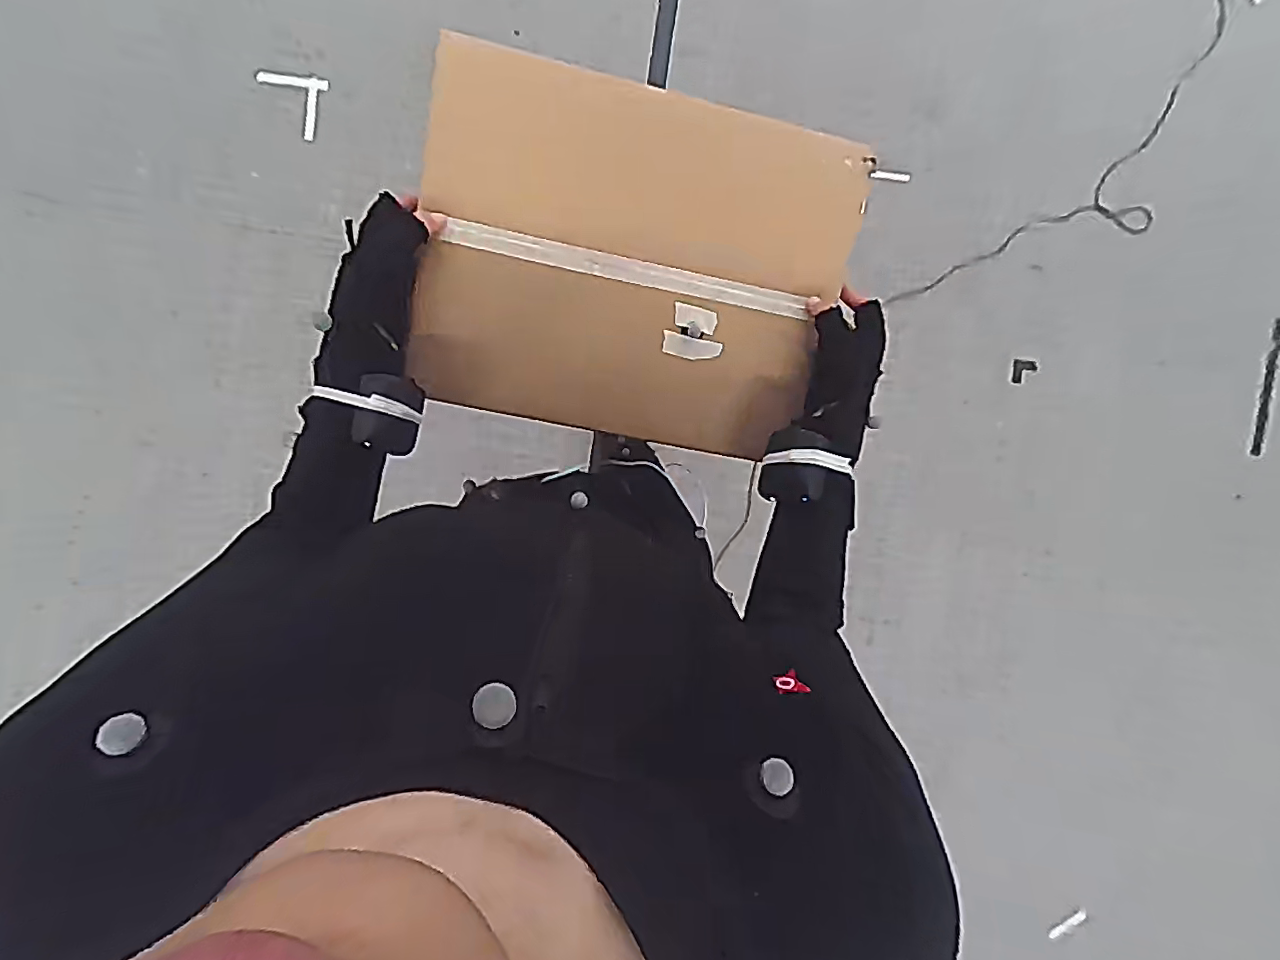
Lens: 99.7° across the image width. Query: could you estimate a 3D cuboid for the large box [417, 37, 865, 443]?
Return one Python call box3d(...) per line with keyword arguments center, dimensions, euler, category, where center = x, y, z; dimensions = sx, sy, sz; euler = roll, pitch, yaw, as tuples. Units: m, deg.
box3d(center=(-0.016, -0.245, 0.671), dimensions=(0.408, 0.320, 0.320), euler=(10, 102, -8), category="large box")
